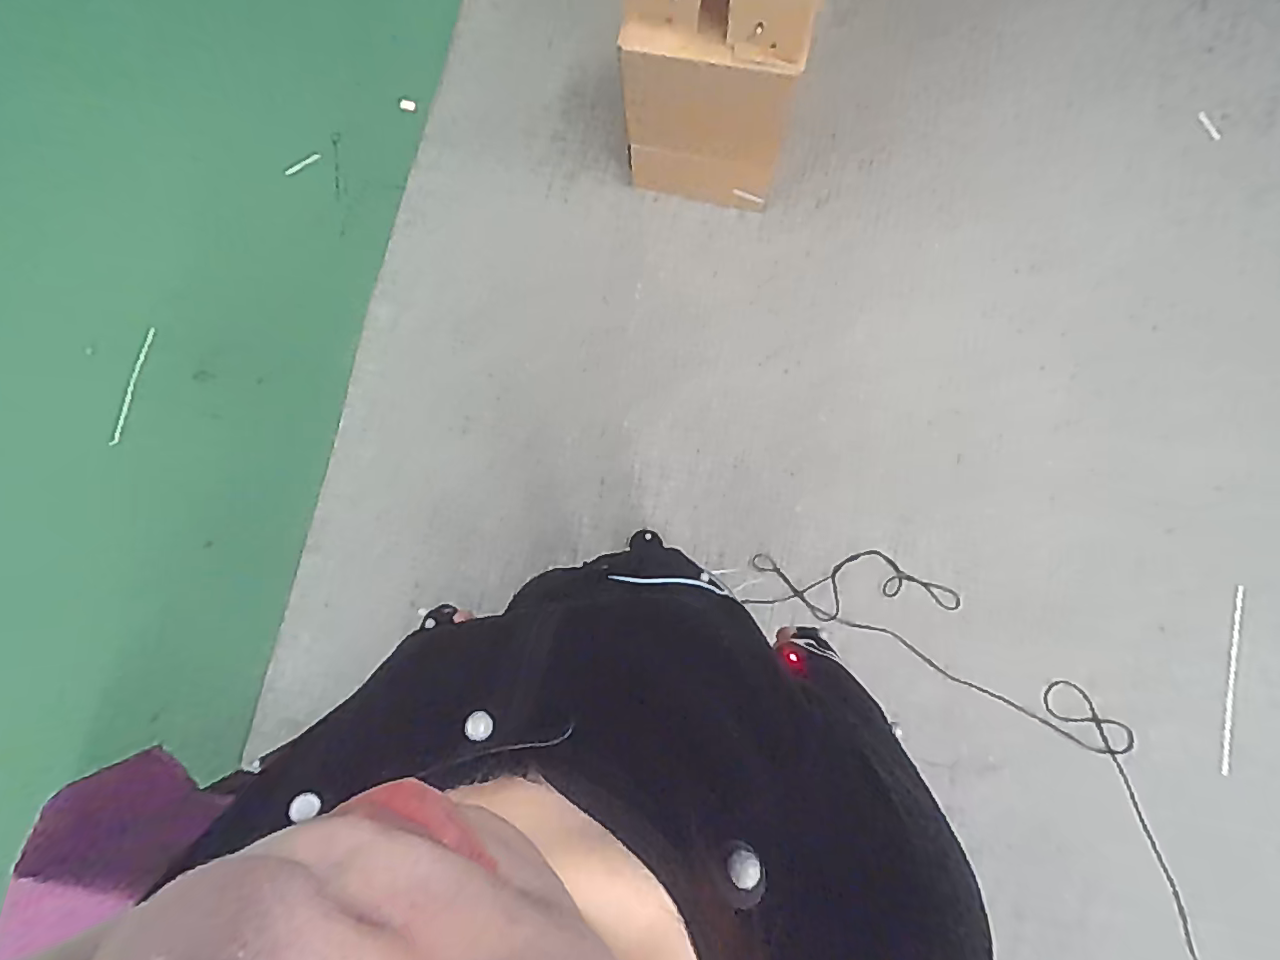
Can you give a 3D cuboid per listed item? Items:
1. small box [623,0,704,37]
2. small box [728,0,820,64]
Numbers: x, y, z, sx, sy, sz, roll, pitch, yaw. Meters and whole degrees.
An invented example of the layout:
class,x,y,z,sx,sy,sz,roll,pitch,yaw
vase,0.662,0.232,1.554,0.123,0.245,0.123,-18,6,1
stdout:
class,x,y,z,sx,sy,sz,roll,pitch,yaw
small box,0.059,-1.066,1.106,0.168,0.176,0.179,14,85,2
small box,0.283,-0.999,1.087,0.168,0.176,0.179,19,85,6
